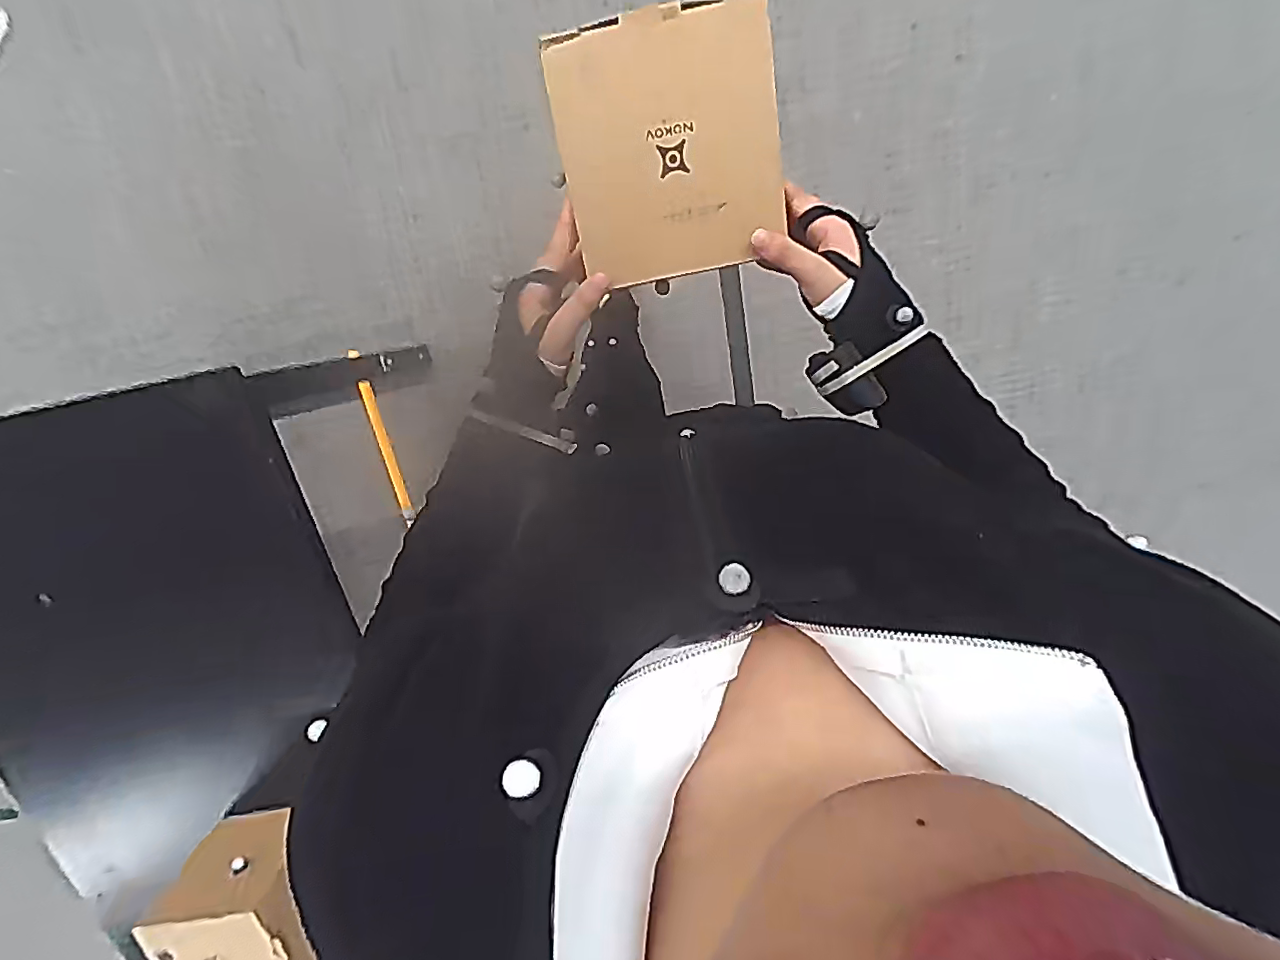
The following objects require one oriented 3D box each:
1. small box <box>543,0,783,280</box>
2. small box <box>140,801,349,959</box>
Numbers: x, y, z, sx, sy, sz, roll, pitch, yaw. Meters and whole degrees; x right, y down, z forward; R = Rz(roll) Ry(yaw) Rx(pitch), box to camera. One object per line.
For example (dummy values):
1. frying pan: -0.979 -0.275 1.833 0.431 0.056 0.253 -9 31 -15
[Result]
1. small box: 0.018 -0.284 0.486 0.168 0.176 0.179 -11 112 1
2. small box: -0.572 0.622 0.818 0.179 0.176 0.168 -11 107 1
